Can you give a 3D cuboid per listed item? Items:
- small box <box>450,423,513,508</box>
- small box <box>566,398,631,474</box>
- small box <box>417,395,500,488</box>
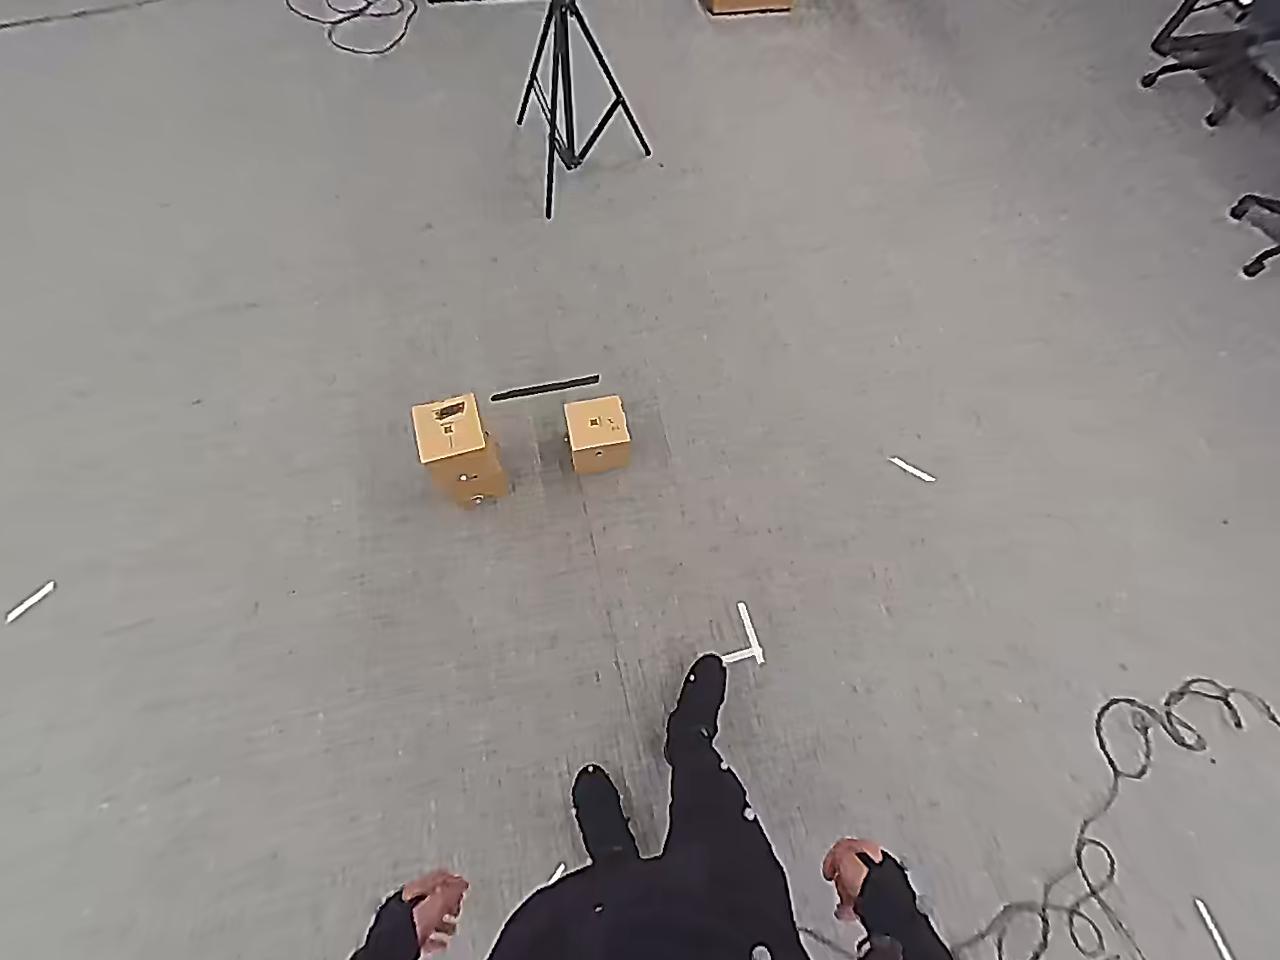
[{"bbox_3d":[-0.493,-0.040,1.627,0.168,0.176,0.179,-16,68,-10],"label":"small box"},{"bbox_3d":[-0.128,-0.132,1.688,0.179,0.176,0.168,-9,67,-8],"label":"small box"},{"bbox_3d":[-0.491,-0.101,1.475,0.168,0.176,0.179,-15,68,-9],"label":"small box"}]
